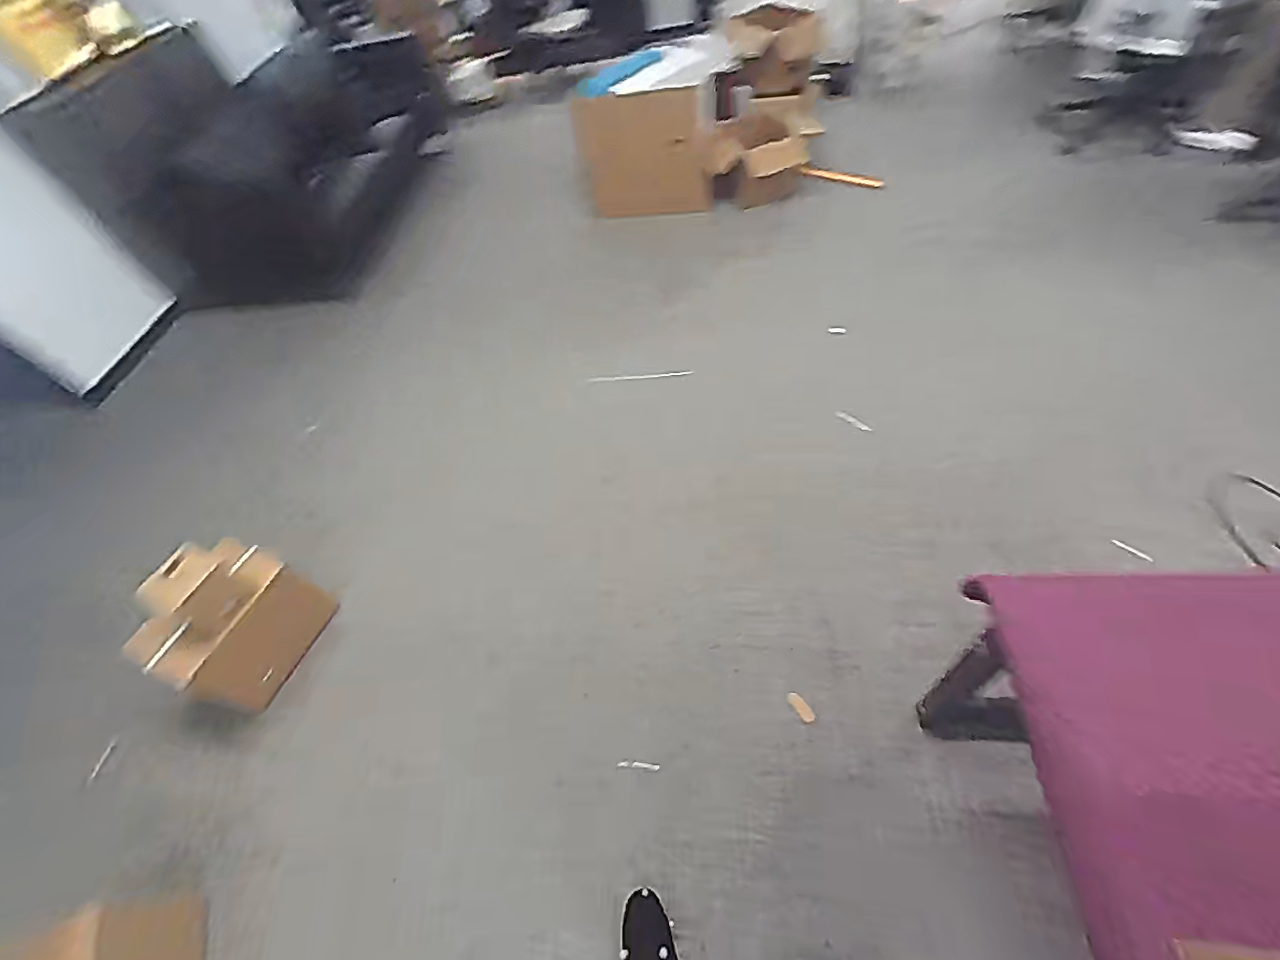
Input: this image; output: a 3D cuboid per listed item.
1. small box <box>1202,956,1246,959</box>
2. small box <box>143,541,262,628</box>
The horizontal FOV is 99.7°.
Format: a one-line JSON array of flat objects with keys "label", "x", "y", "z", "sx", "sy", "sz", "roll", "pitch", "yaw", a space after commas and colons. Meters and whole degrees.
[{"label": "small box", "x": 0.657, "y": 0.545, "z": 0.475, "sx": 0.179, "sy": 0.176, "sz": 0.168, "roll": 0, "pitch": 55, "yaw": 11}, {"label": "small box", "x": -1.277, "y": 0.311, "z": 1.589, "sx": 0.179, "sy": 0.176, "sz": 0.168, "roll": 18, "pitch": 59, "yaw": 21}]
